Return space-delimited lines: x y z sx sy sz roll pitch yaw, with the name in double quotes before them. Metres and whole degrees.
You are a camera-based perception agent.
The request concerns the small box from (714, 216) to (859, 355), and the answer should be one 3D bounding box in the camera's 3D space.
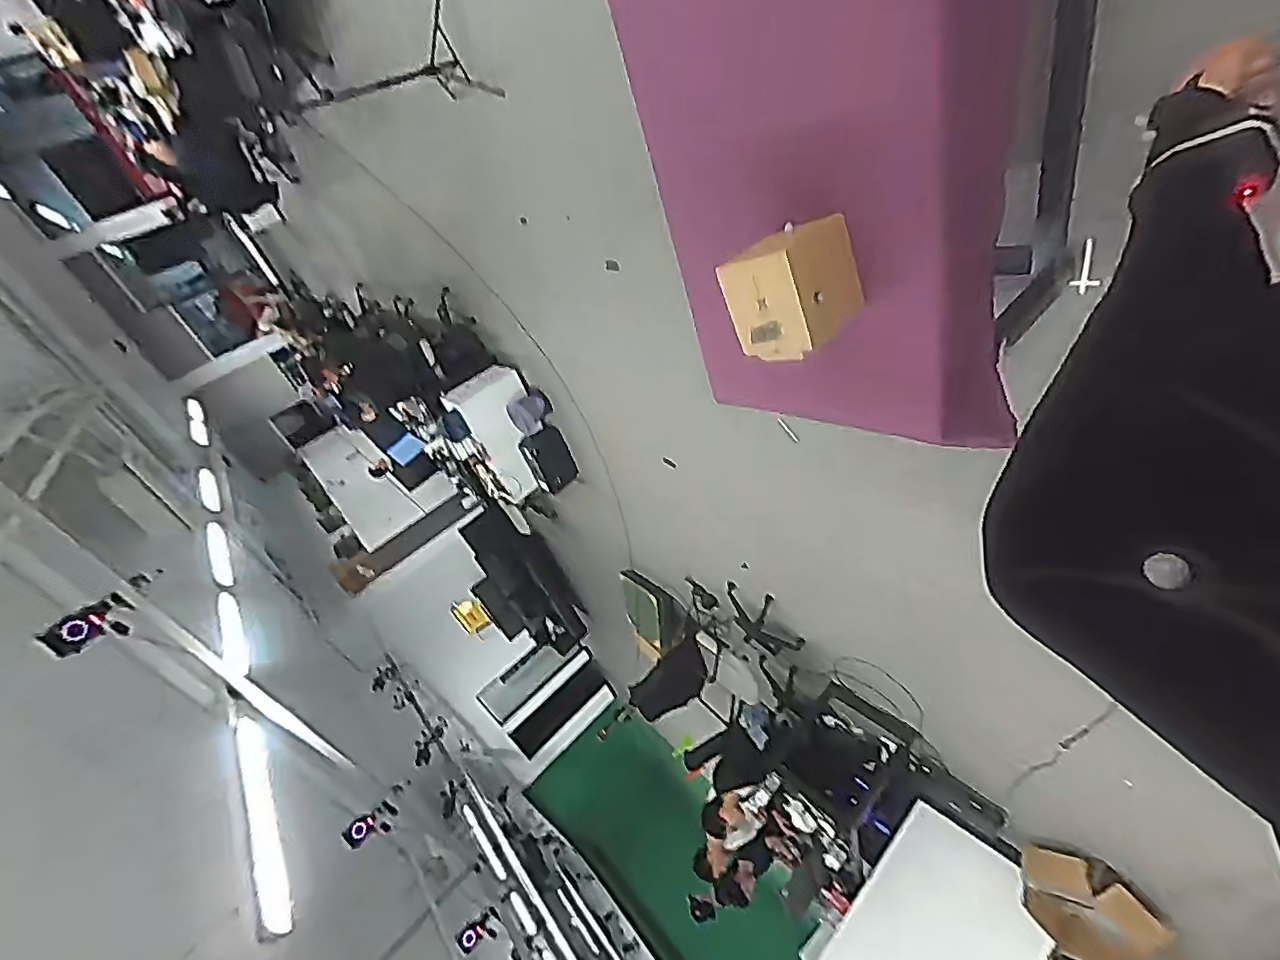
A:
"small box" 0.273 -0.349 0.989 0.168 0.176 0.179 13 135 54
